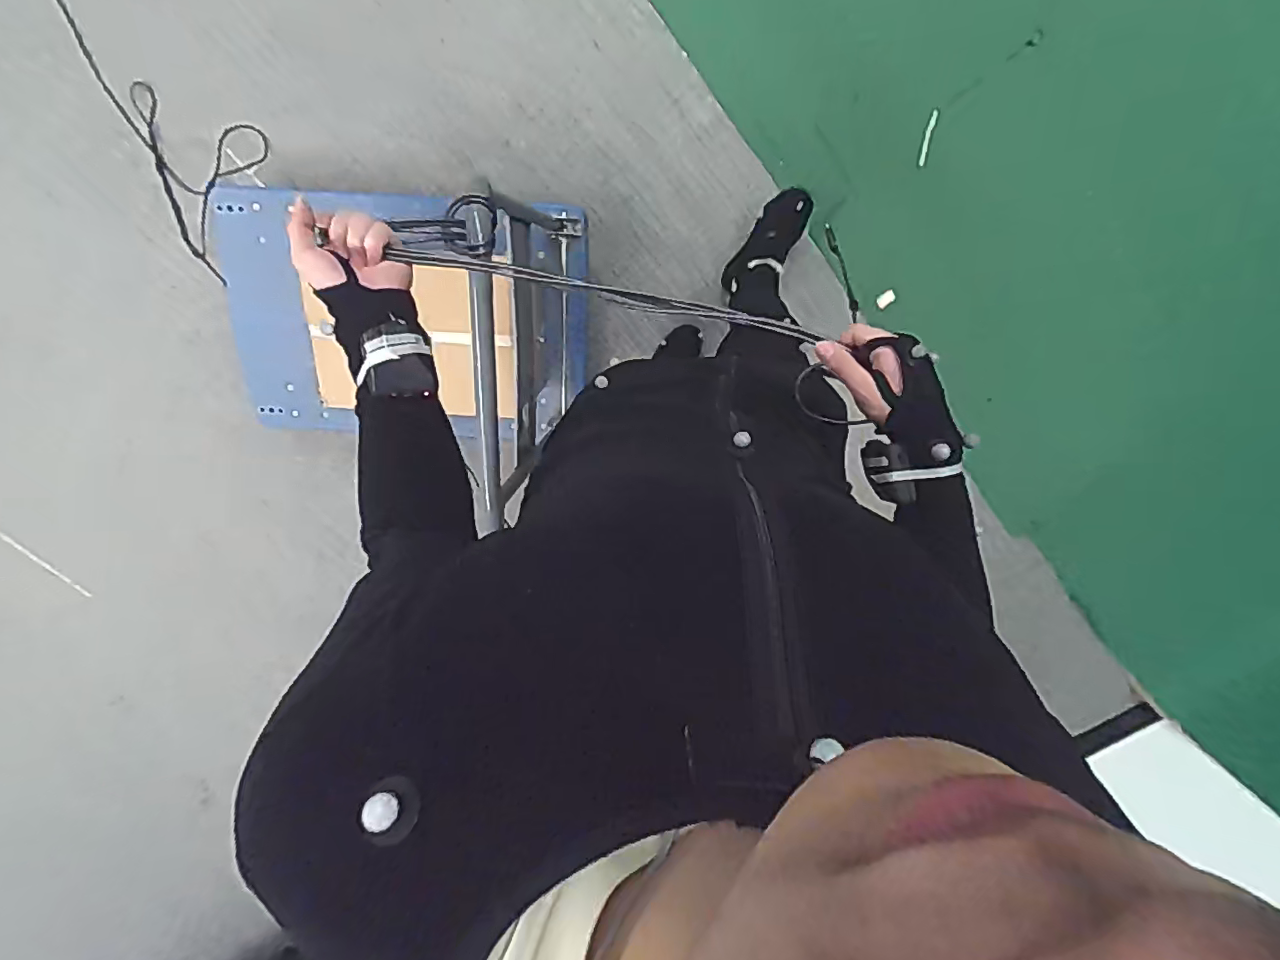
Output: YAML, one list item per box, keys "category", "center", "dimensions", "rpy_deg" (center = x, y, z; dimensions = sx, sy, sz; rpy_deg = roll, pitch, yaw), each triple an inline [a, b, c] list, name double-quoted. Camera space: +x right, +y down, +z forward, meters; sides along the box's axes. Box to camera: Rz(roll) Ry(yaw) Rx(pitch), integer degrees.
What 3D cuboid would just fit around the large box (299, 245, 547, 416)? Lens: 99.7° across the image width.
- category: "large box"
  center: [-0.434, -0.337, 1.188]
  dimensions: [0.408, 0.320, 0.320]
  rpy_deg: [3, 111, 1]
